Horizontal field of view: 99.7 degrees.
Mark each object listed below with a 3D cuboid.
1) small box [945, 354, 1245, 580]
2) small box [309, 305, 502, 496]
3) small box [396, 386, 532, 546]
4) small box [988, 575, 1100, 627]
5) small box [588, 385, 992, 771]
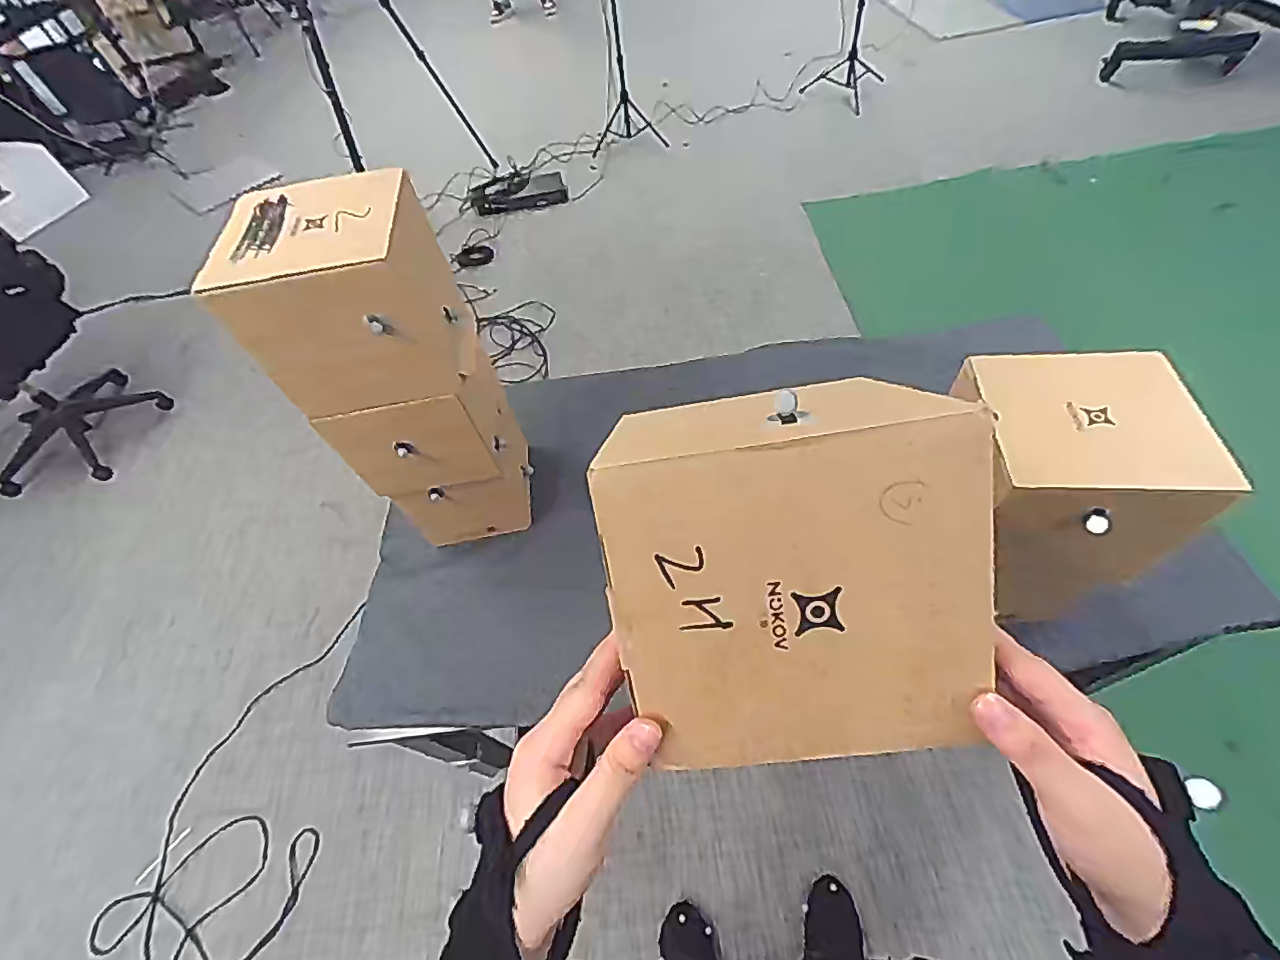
[{"bbox_3d":[0.414,-0.008,0.549,0.179,0.176,0.168,0,54,11],"label":"small box"},{"bbox_3d":[-0.291,-0.100,0.718,0.179,0.176,0.168,-11,56,1],"label":"small box"},{"bbox_3d":[-0.275,-0.020,0.862,0.168,0.176,0.179,-11,55,0],"label":"small box"},{"bbox_3d":[0.433,0.075,0.688,0.168,0.176,0.179,-8,54,4],"label":"small box"},{"bbox_3d":[0.078,0.041,0.330,0.179,0.168,0.176,-8,14,7],"label":"small box"}]
